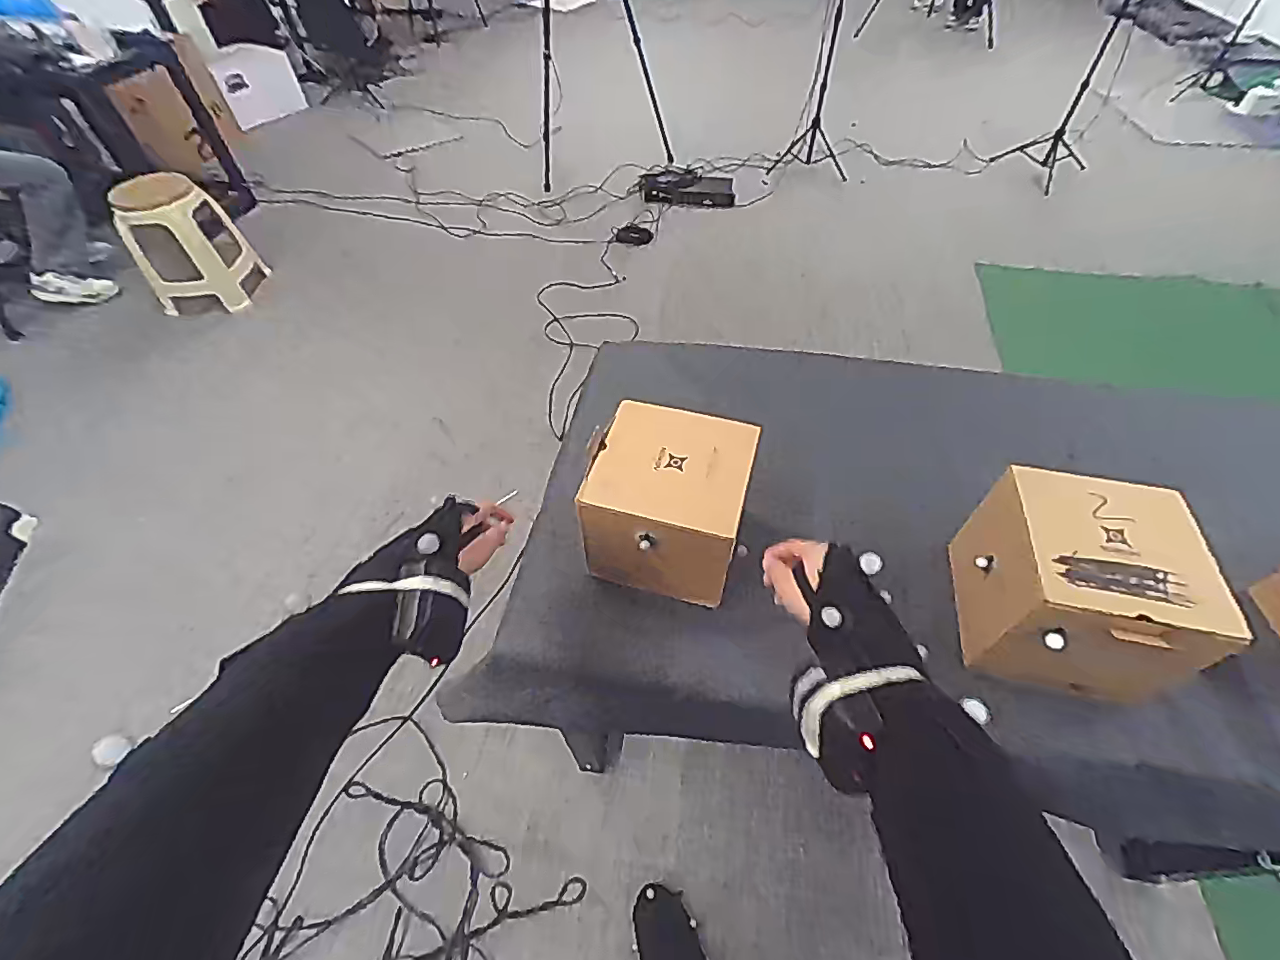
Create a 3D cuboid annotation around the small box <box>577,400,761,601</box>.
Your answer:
[{"bbox_3d":[0.037,0.029,0.670,0.179,0.176,0.168,13,54,10],"label":"small box"}]
